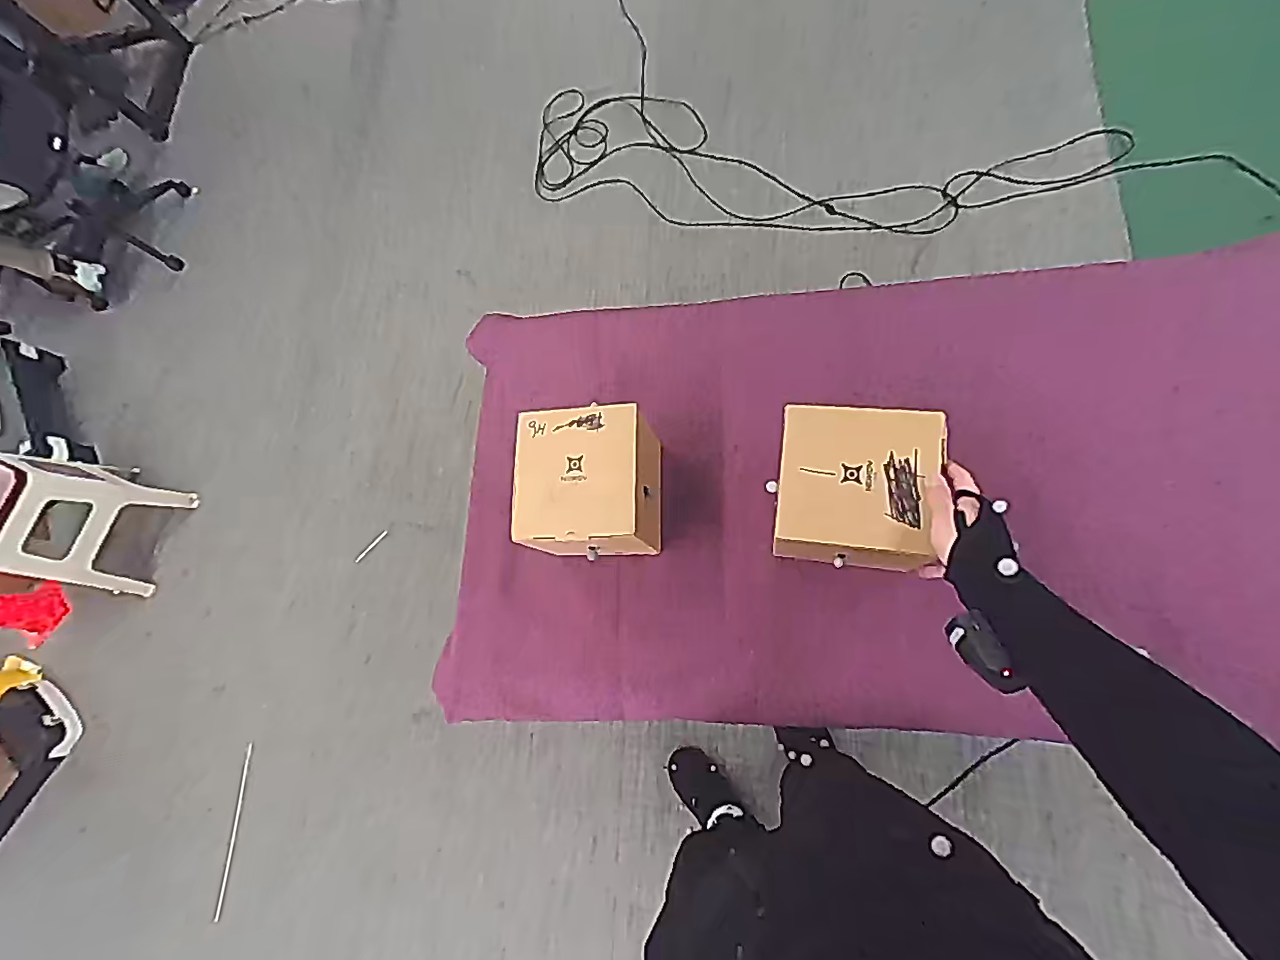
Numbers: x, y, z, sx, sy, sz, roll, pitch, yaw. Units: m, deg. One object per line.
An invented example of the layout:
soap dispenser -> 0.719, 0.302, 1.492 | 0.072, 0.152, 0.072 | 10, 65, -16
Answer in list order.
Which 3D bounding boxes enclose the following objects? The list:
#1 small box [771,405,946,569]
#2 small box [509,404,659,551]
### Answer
small box -> 0.263, 0.016, 0.680 | 0.179, 0.176, 0.168 | 5, 76, 16
small box -> -0.068, 0.007, 0.761 | 0.168, 0.176, 0.179 | -2, 76, 12
